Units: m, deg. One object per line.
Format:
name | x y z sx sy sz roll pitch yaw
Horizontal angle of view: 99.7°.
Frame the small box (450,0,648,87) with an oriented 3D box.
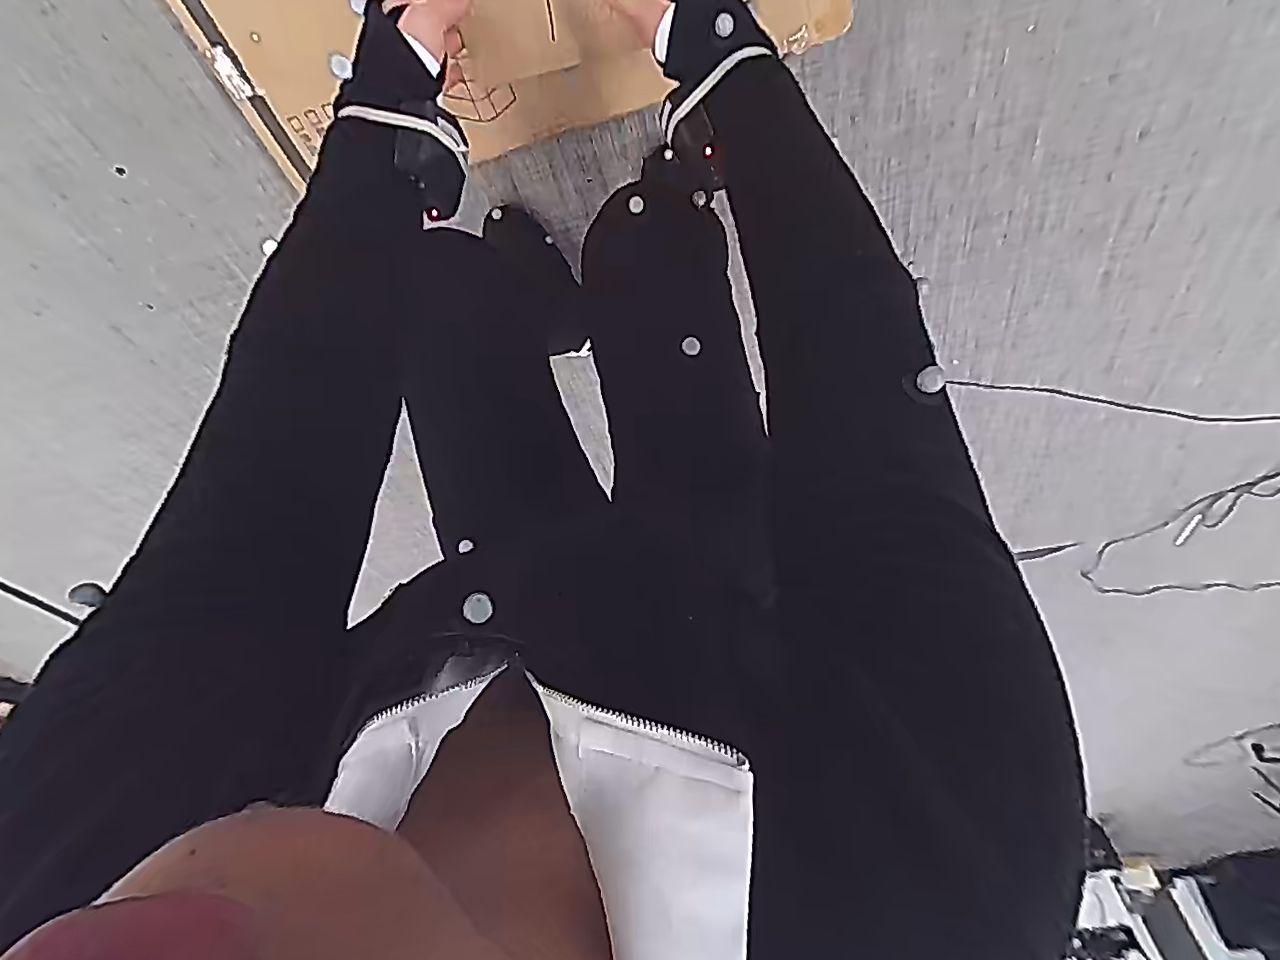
small box | -0.090 -0.491 0.502 0.168 0.176 0.179 -9 130 7
